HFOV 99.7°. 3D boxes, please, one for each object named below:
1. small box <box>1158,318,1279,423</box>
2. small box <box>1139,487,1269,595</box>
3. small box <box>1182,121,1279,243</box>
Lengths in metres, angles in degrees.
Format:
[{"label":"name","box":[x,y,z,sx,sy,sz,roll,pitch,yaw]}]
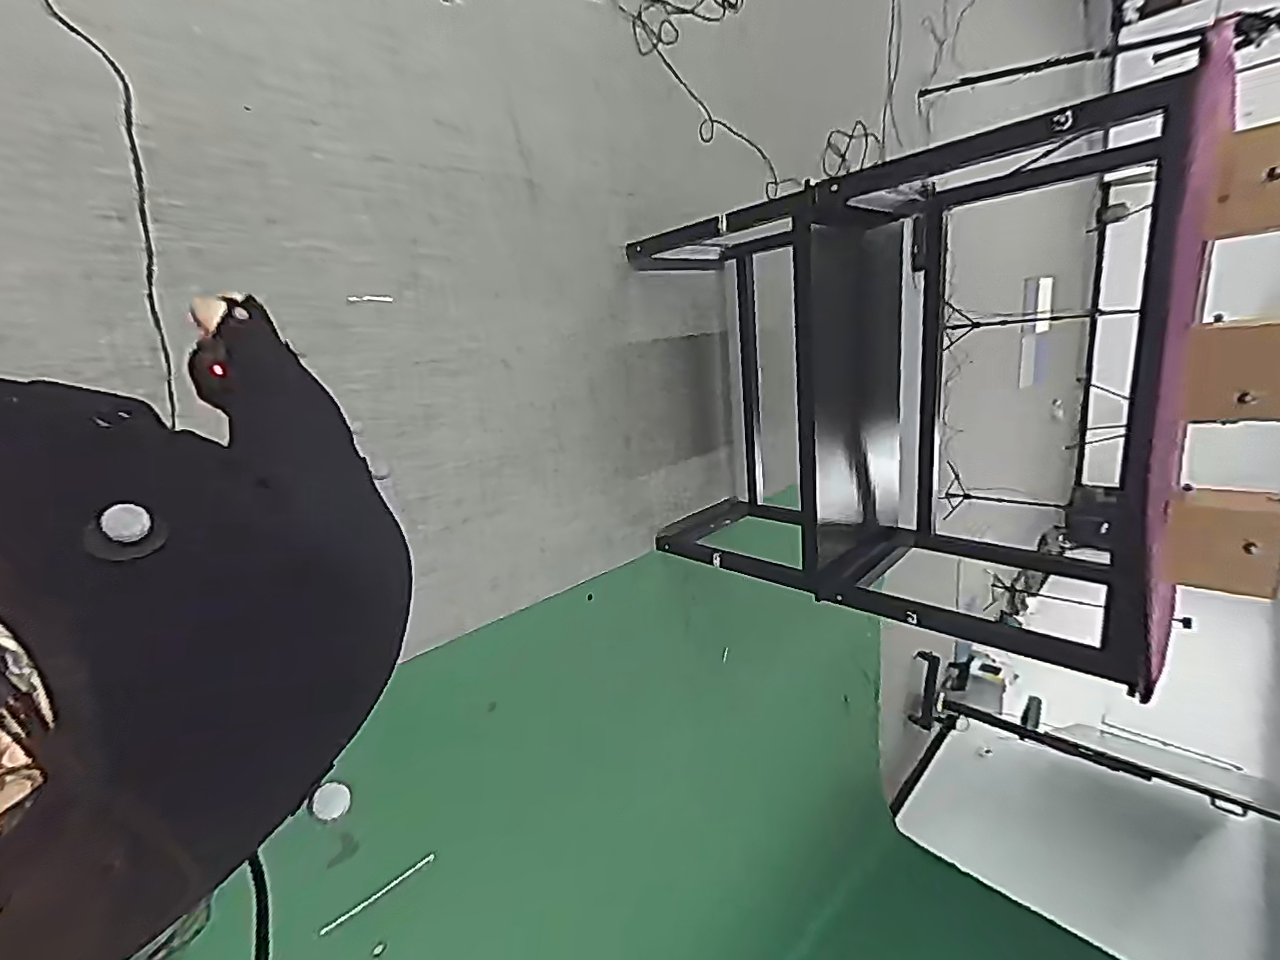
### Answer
[{"label":"small box","box":[1.119,-0.212,1.037,0.168,0.176,0.179,-21,110,-41]},{"label":"small box","box":[1.174,0.117,1.138,0.168,0.176,0.179,-18,109,-44]},{"label":"small box","box":[1.083,-0.519,0.948,0.179,0.176,0.168,-20,111,-40]}]
